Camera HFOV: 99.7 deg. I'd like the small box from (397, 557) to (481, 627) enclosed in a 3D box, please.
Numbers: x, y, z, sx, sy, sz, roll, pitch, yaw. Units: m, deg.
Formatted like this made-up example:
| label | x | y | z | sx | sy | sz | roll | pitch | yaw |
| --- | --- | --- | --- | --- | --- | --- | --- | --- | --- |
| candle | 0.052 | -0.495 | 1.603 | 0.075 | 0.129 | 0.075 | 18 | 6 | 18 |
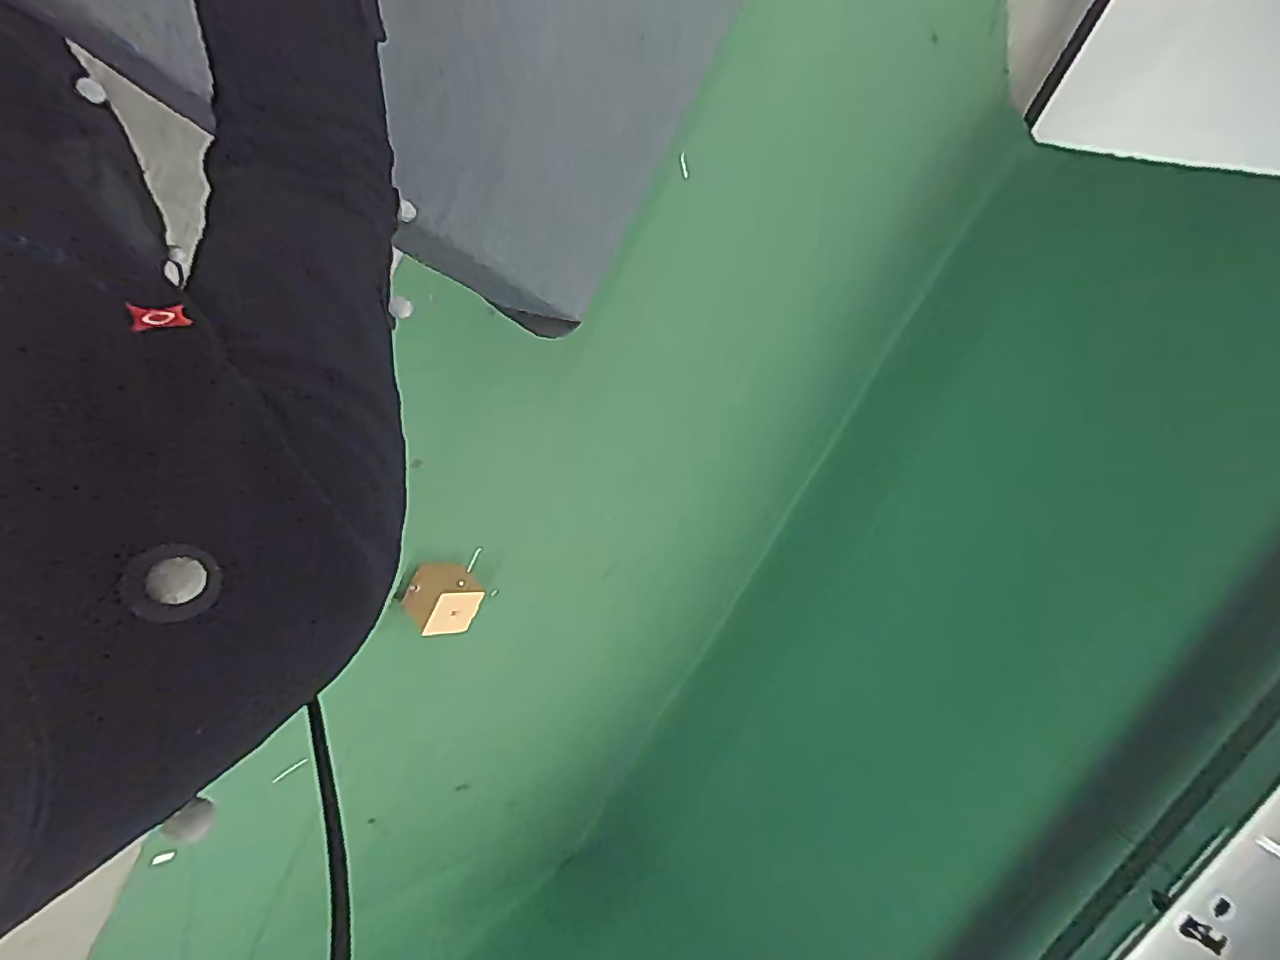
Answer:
| label | x | y | z | sx | sy | sz | roll | pitch | yaw |
| --- | --- | --- | --- | --- | --- | --- | --- | --- | --- |
| small box | -0.682 | 0.373 | 1.829 | 0.179 | 0.176 | 0.168 | 14 | 107 | -54 |
